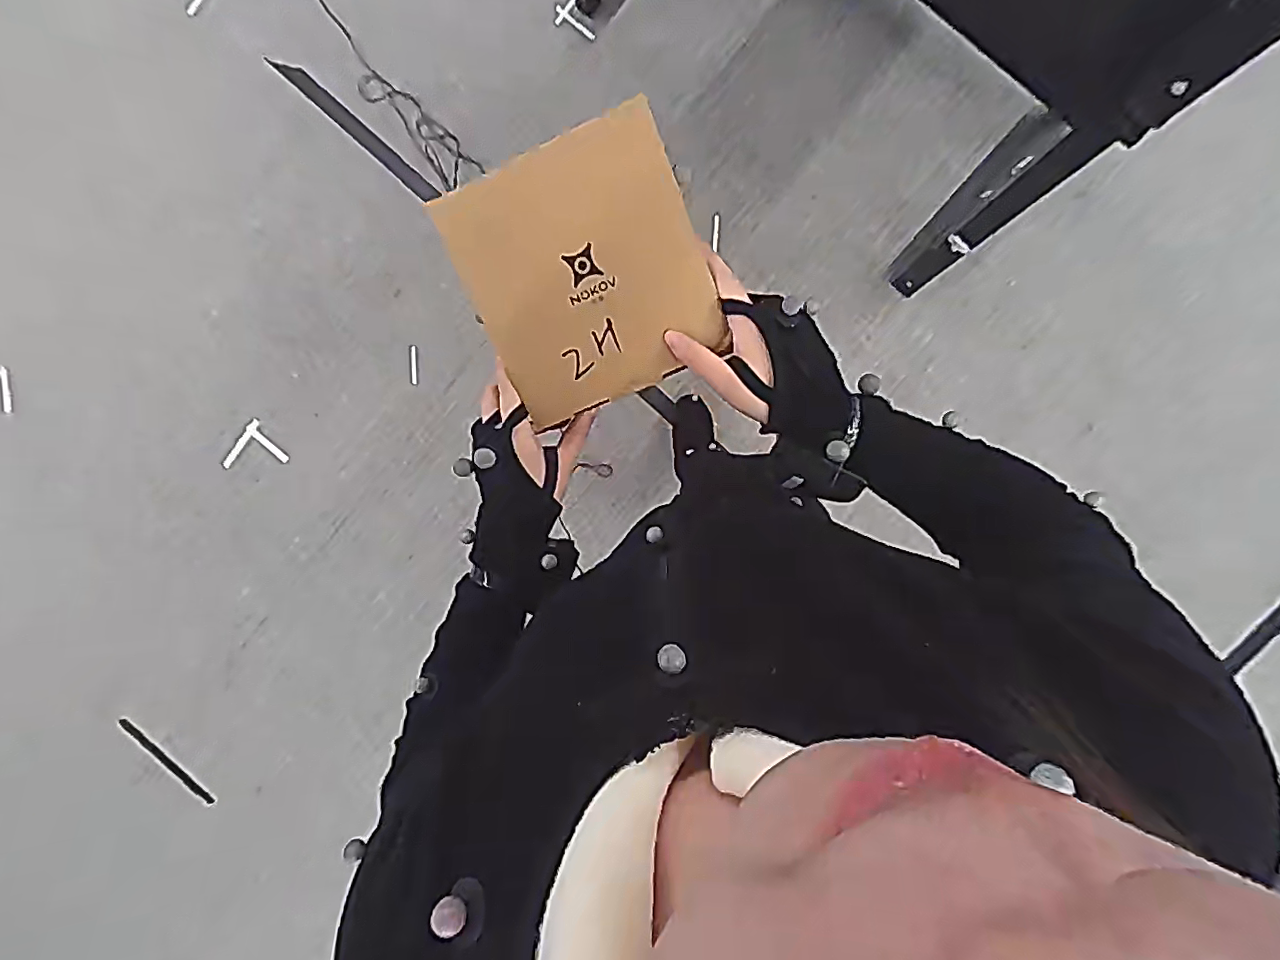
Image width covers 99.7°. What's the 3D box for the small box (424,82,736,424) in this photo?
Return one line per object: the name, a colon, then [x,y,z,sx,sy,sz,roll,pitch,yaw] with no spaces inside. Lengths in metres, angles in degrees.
small box: [-0.037,-0.168,0.444,0.168,0.176,0.179,-21,107,8]
